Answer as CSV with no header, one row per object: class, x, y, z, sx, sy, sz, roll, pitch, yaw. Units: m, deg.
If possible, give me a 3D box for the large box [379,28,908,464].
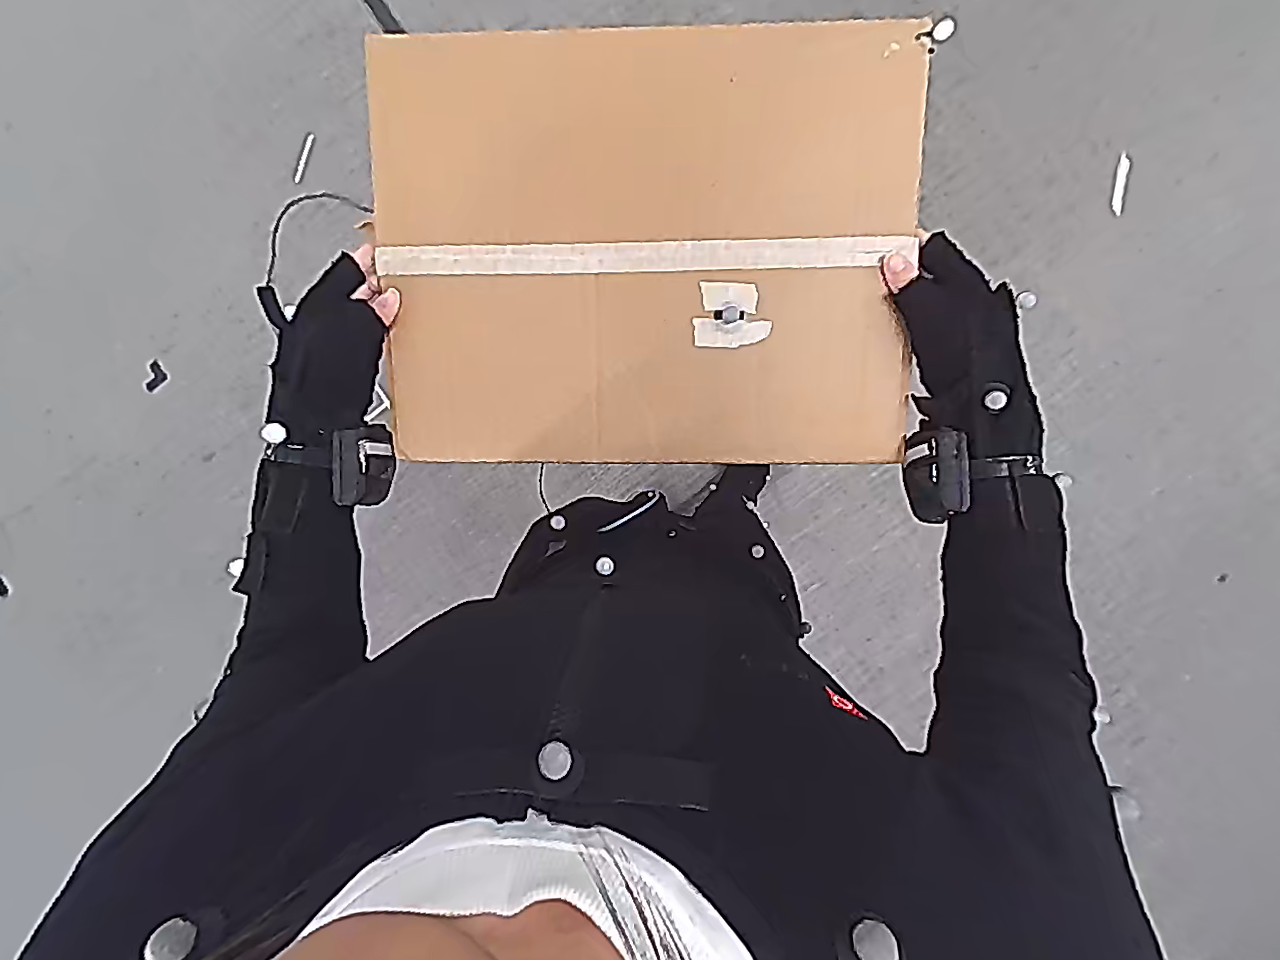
large box,0.007,-0.192,0.569,0.408,0.320,0.320,-1,99,2
